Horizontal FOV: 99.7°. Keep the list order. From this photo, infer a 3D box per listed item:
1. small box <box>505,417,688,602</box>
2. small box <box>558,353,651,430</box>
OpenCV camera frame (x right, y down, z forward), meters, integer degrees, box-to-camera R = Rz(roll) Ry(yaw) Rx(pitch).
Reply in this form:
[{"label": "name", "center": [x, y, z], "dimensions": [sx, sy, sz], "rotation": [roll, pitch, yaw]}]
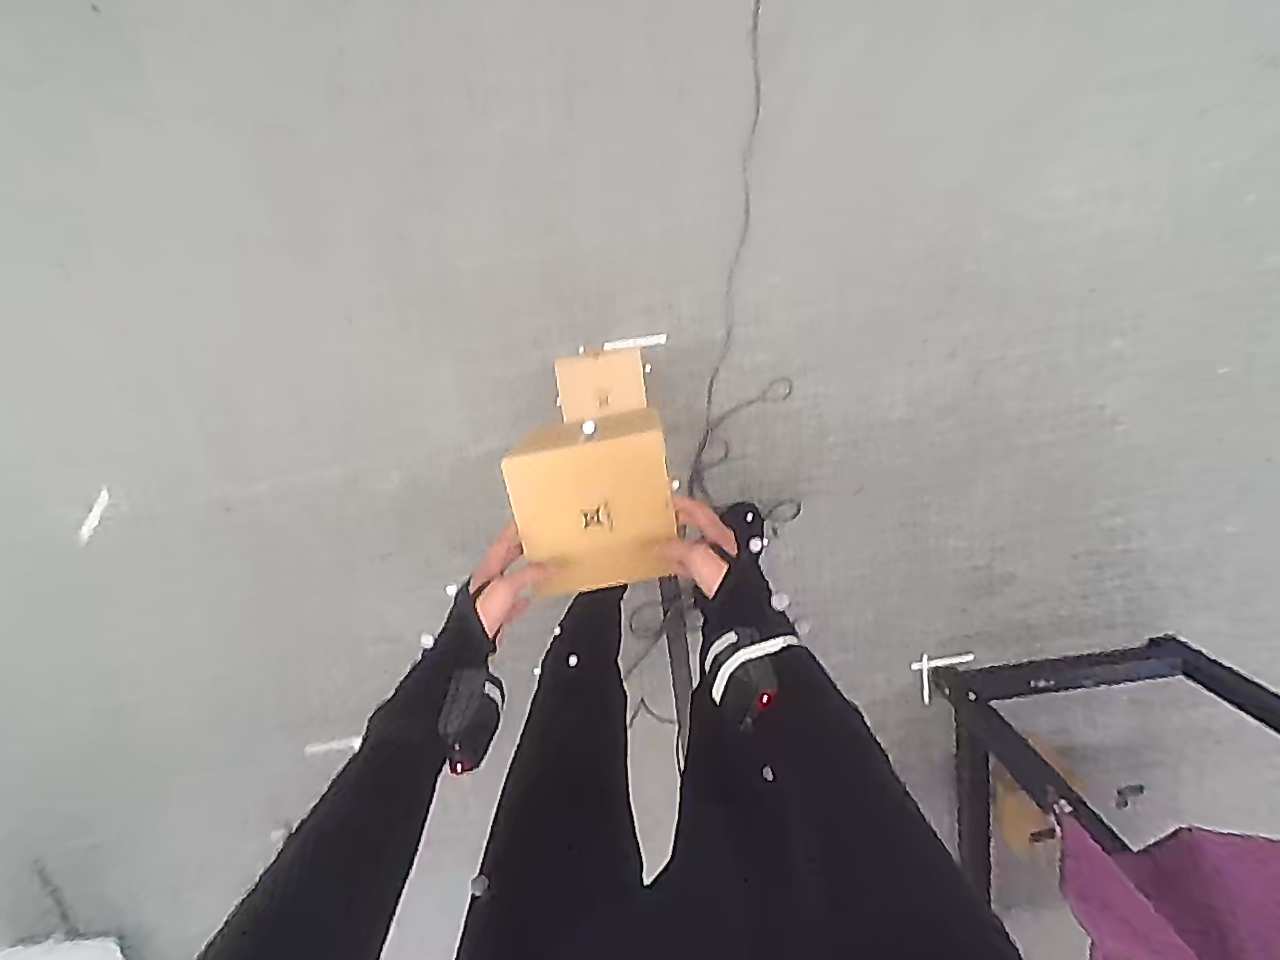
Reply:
[{"label": "small box", "center": [-0.046, 0.026, 0.660], "dimensions": [0.179, 0.176, 0.168], "rotation": [-10, 106, 0]}, {"label": "small box", "center": [-0.065, -0.161, 1.112], "dimensions": [0.168, 0.176, 0.179], "rotation": [-7, 103, 3]}]
